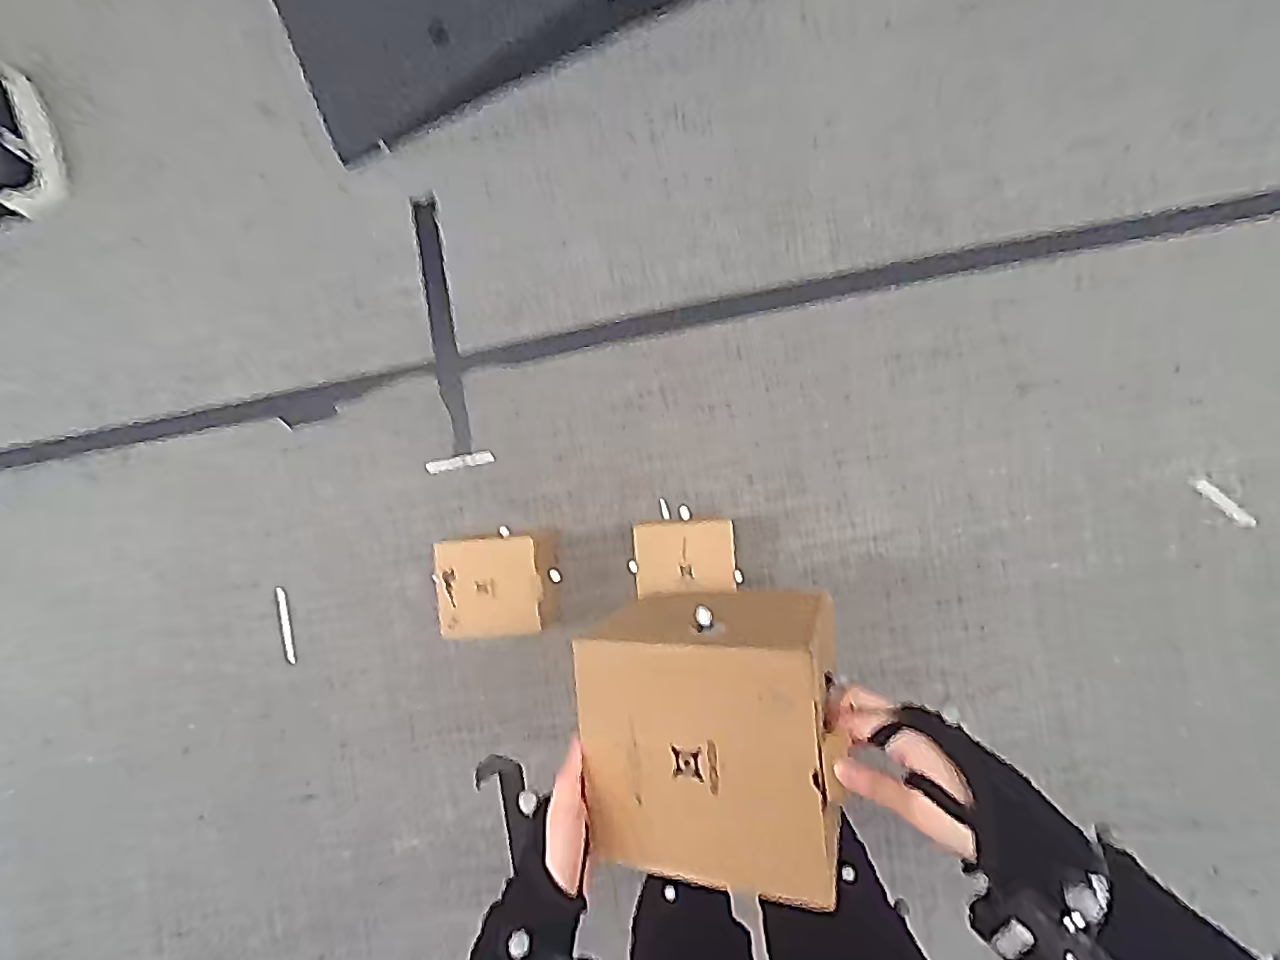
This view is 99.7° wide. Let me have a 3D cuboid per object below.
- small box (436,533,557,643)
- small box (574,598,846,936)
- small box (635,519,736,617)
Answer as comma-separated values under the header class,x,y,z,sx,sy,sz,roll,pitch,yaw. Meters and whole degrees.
class,x,y,z,sx,sy,sz,roll,pitch,yaw
small box,-0.250,0.188,0.985,0.179,0.176,0.168,-4,90,3
small box,0.068,0.194,0.429,0.179,0.176,0.168,-3,90,24
small box,0.081,0.165,0.966,0.168,0.176,0.179,-3,89,3
